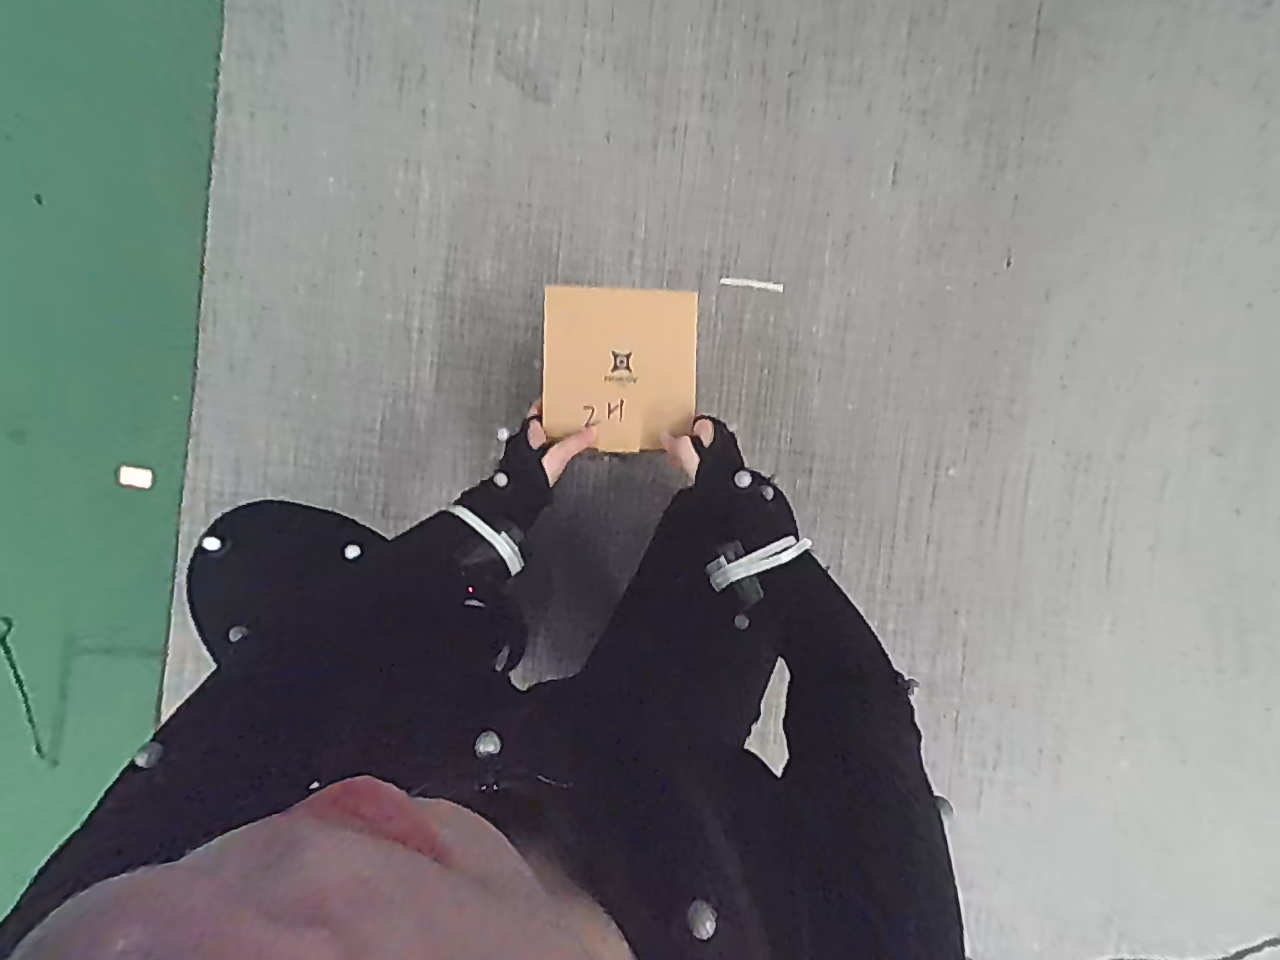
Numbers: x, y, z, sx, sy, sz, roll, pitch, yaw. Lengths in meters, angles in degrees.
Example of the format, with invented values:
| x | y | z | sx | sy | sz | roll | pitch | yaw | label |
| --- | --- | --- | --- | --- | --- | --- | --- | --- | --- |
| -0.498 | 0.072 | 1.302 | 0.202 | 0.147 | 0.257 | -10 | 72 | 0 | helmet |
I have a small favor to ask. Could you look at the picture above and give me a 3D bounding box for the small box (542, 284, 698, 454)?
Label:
| x | y | z | sx | sy | sz | roll | pitch | yaw | label |
| --- | --- | --- | --- | --- | --- | --- | --- | --- | --- |
| -0.027 | -0.124 | 0.667 | 0.168 | 0.176 | 0.179 | 2 | 93 | -3 | small box |
